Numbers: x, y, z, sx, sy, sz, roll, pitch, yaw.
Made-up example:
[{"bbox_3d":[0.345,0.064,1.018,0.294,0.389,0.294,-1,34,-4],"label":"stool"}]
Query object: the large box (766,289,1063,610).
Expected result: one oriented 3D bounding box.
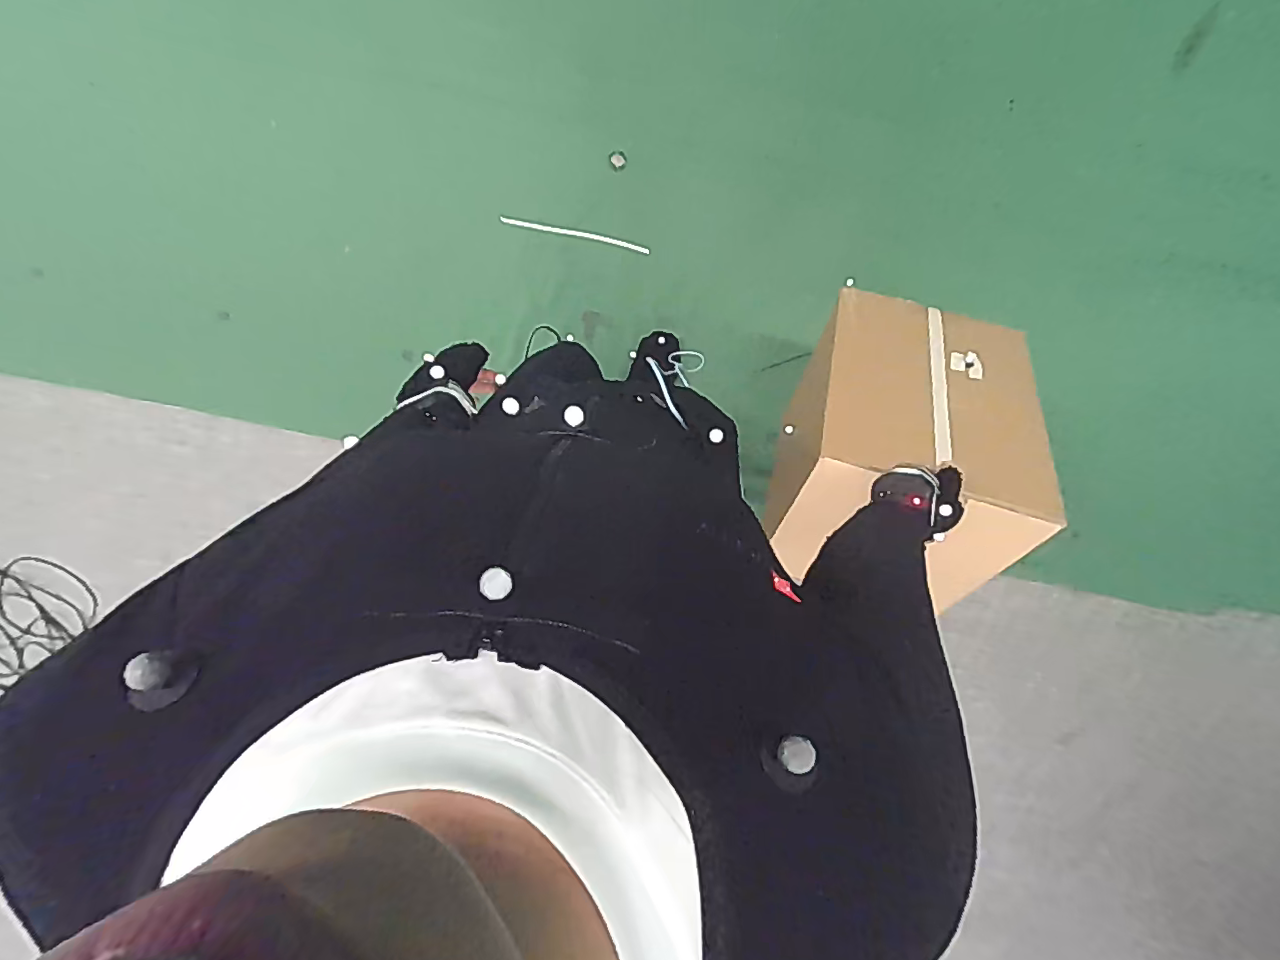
[{"bbox_3d":[0.427,-0.052,0.925,0.320,0.408,0.320,17,144,5],"label":"large box"}]
